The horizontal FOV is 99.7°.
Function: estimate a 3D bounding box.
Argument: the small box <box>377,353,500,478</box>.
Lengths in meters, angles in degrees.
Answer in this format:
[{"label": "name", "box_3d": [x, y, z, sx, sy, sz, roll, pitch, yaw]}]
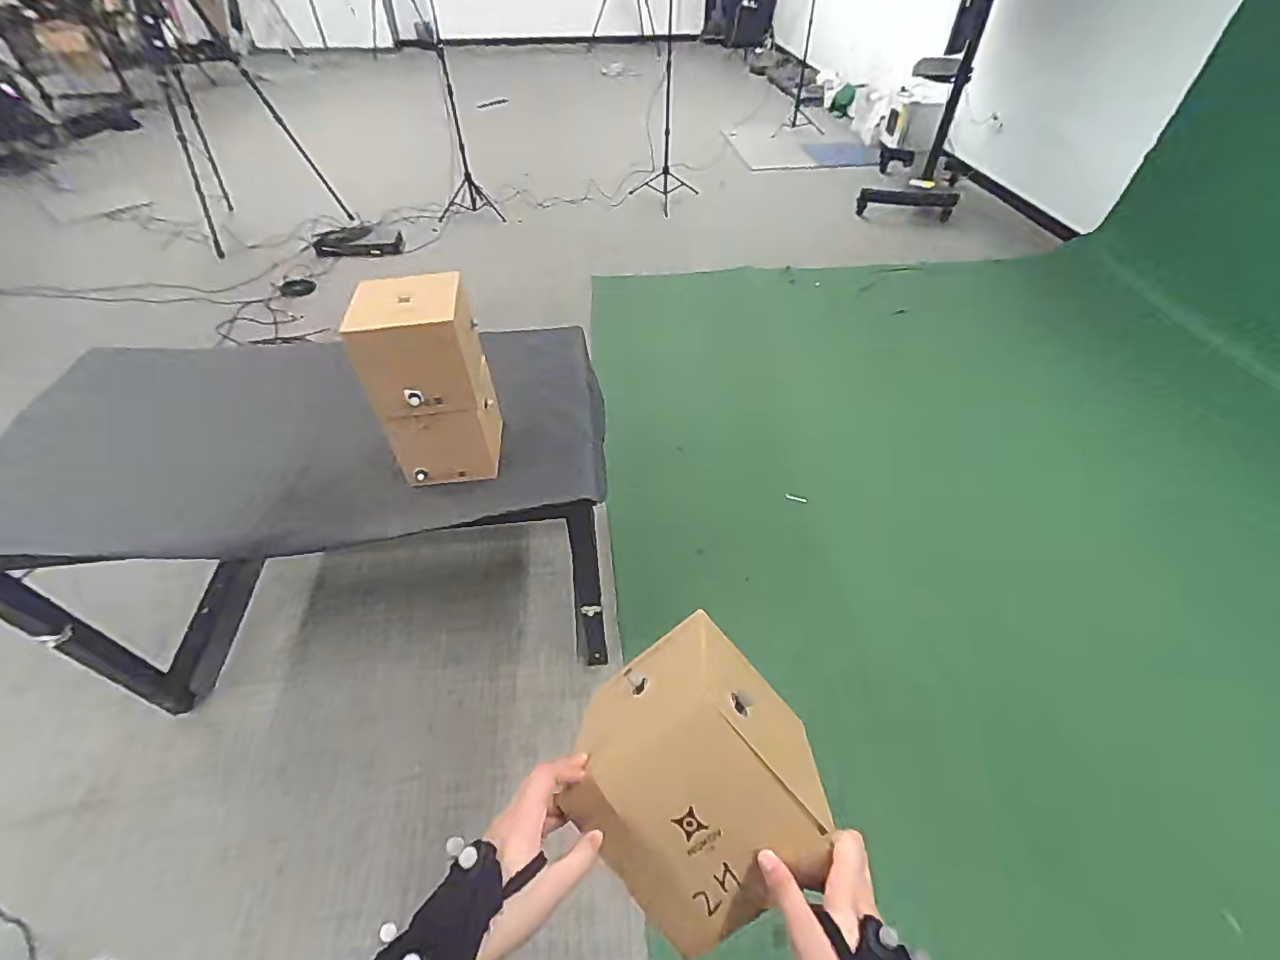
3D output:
[{"label": "small box", "box_3d": [-0.366, -0.116, 1.018, 0.168, 0.176, 0.179, -5, 44, -4]}]

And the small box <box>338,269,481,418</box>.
[{"label": "small box", "box_3d": [-0.367, -0.227, 0.900, 0.168, 0.176, 0.179, -9, 47, -6]}]

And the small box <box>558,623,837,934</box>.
[{"label": "small box", "box_3d": [0.052, 0.264, 0.524, 0.179, 0.168, 0.176, 48, 12, -5]}]
